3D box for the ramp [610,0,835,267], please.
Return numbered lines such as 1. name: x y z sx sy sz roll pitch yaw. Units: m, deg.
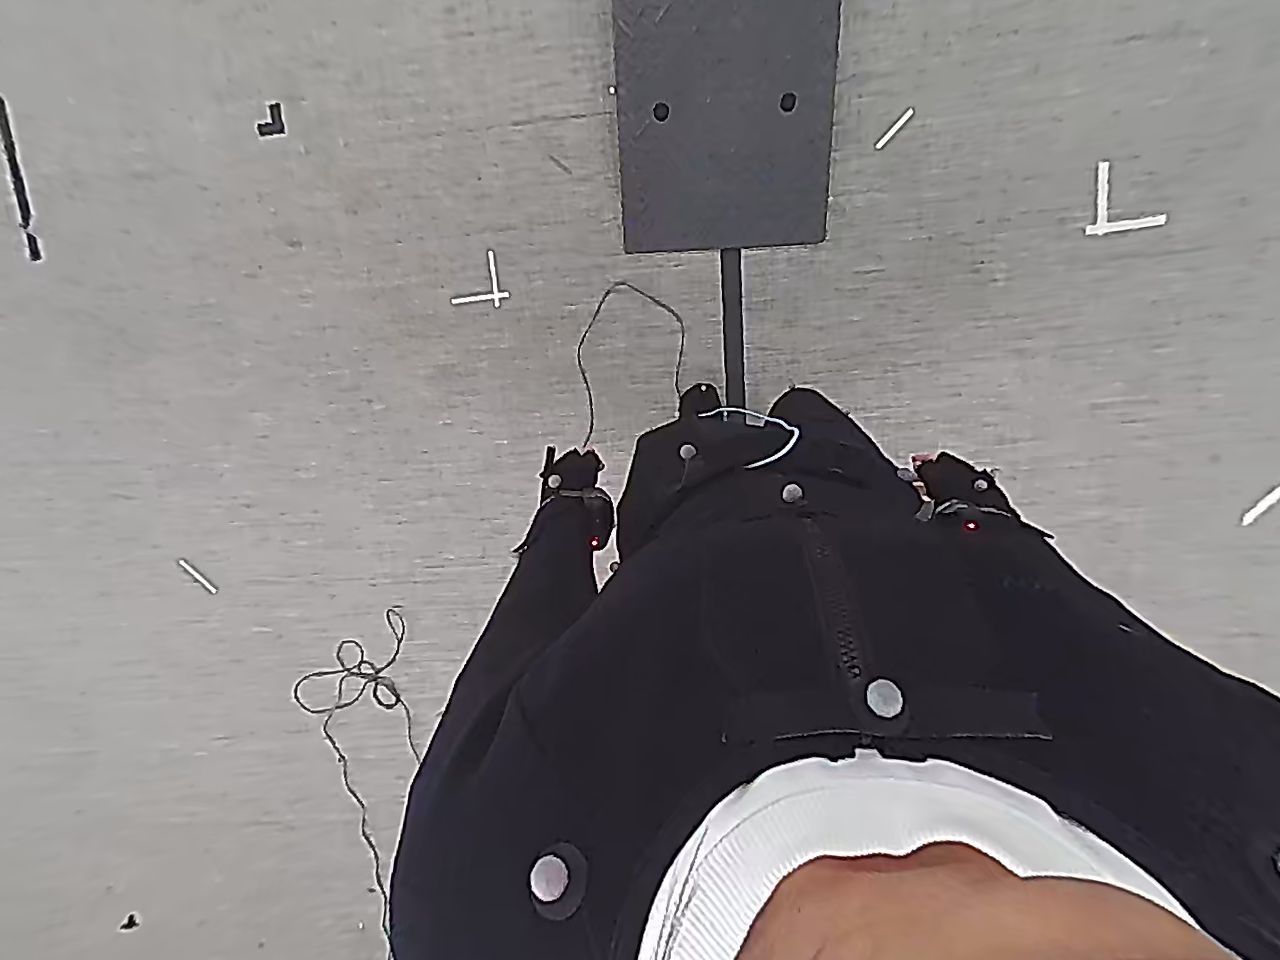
1. ramp: 0.181 -1.021 1.189 0.509 0.206 0.991 -5 100 4
